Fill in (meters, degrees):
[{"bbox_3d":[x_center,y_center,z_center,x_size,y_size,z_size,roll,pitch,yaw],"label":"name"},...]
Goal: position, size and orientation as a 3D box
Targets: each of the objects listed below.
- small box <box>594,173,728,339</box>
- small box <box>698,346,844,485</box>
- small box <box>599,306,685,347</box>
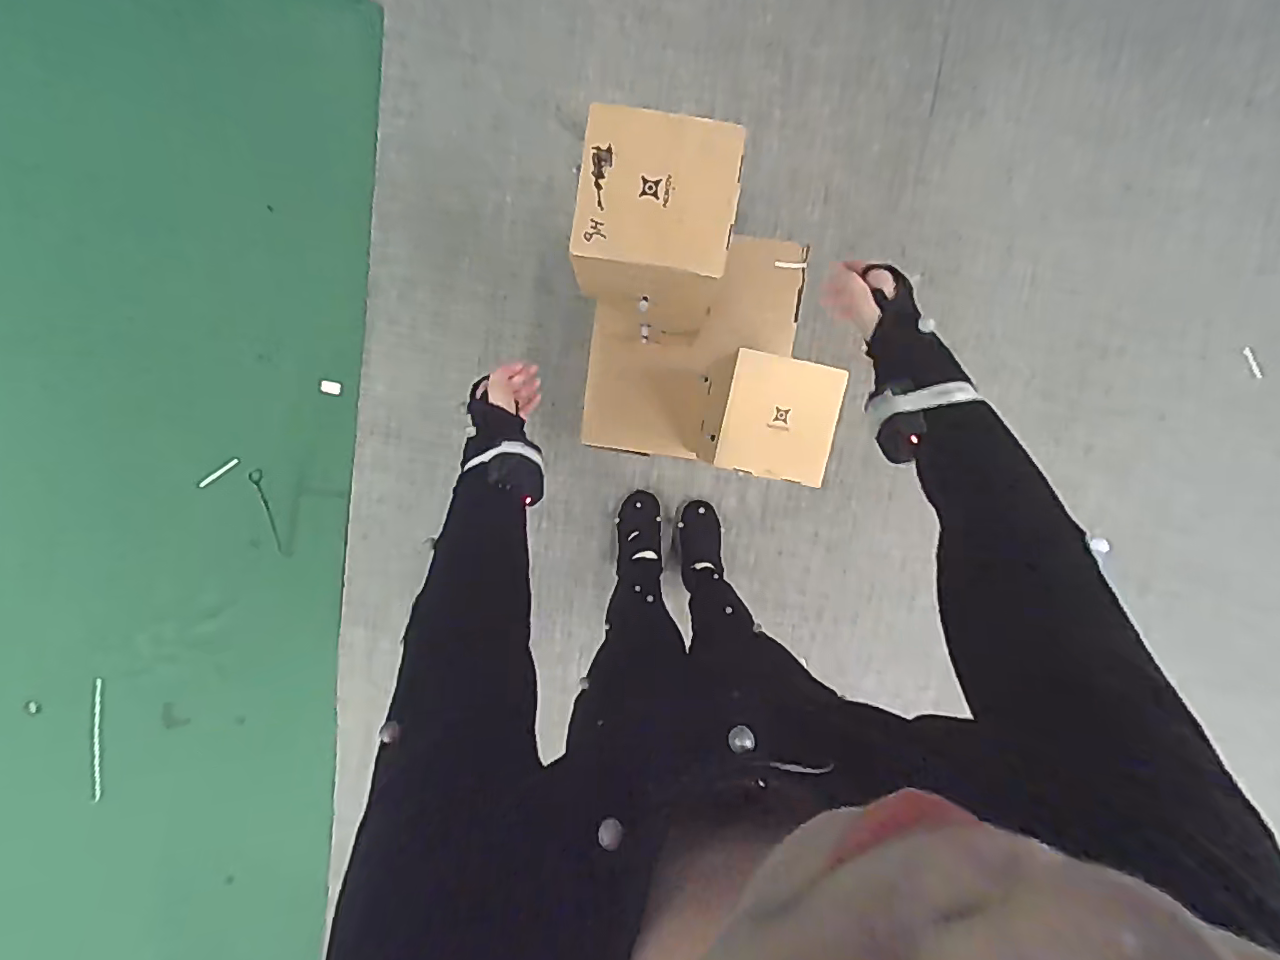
[{"bbox_3d":[0.027,-0.332,0.834,0.168,0.176,0.179,10,94,-1],"label":"small box"},{"bbox_3d":[0.196,-0.100,0.860,0.168,0.176,0.179,11,95,-3],"label":"small box"},{"bbox_3d":[0.019,-0.358,0.997,0.168,0.176,0.179,8,93,-1],"label":"small box"}]
